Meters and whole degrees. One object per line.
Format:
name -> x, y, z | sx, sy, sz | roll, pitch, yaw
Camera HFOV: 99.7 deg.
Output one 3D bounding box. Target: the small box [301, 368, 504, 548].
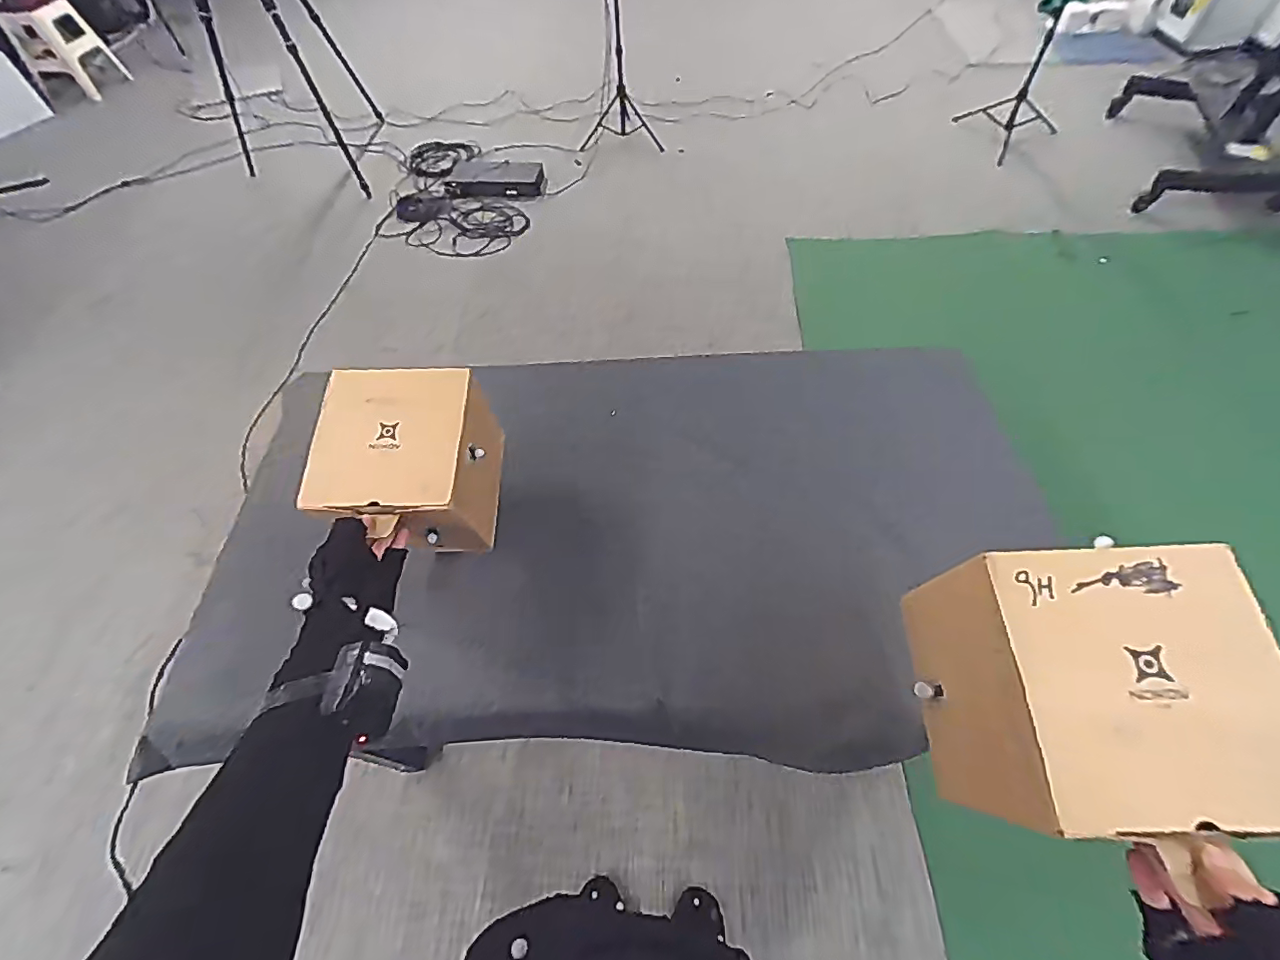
small box -> -0.274, -0.018, 0.671 | 0.168, 0.176, 0.179 | -1, 66, 0
